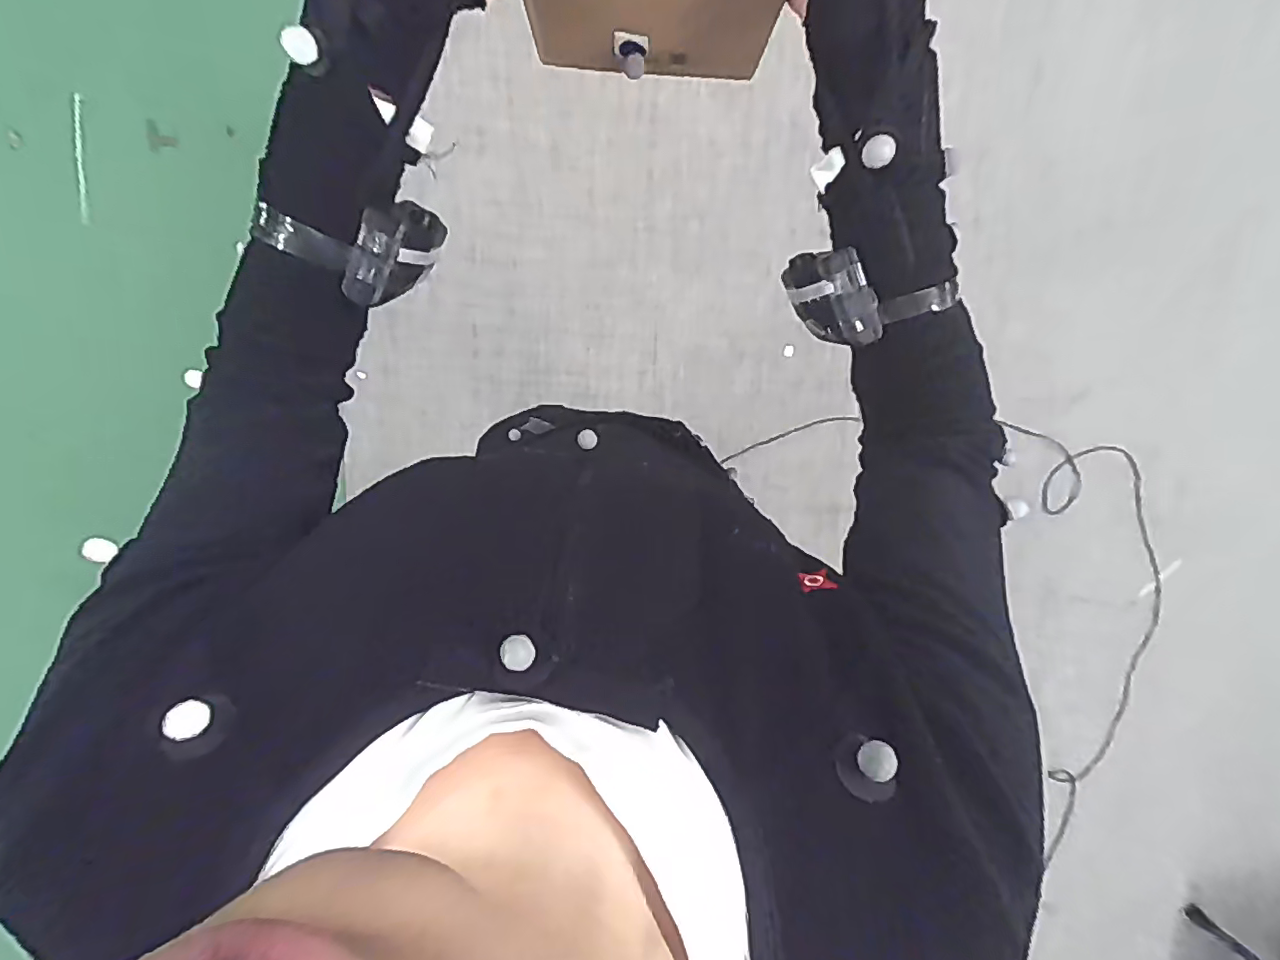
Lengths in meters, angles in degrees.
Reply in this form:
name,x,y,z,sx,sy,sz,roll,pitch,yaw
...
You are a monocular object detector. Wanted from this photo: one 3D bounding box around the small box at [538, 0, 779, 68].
name,x,y,z,sx,sy,sz,roll,pitch,yaw
small box,0.012,-0.389,0.316,0.168,0.176,0.179,2,103,-2
